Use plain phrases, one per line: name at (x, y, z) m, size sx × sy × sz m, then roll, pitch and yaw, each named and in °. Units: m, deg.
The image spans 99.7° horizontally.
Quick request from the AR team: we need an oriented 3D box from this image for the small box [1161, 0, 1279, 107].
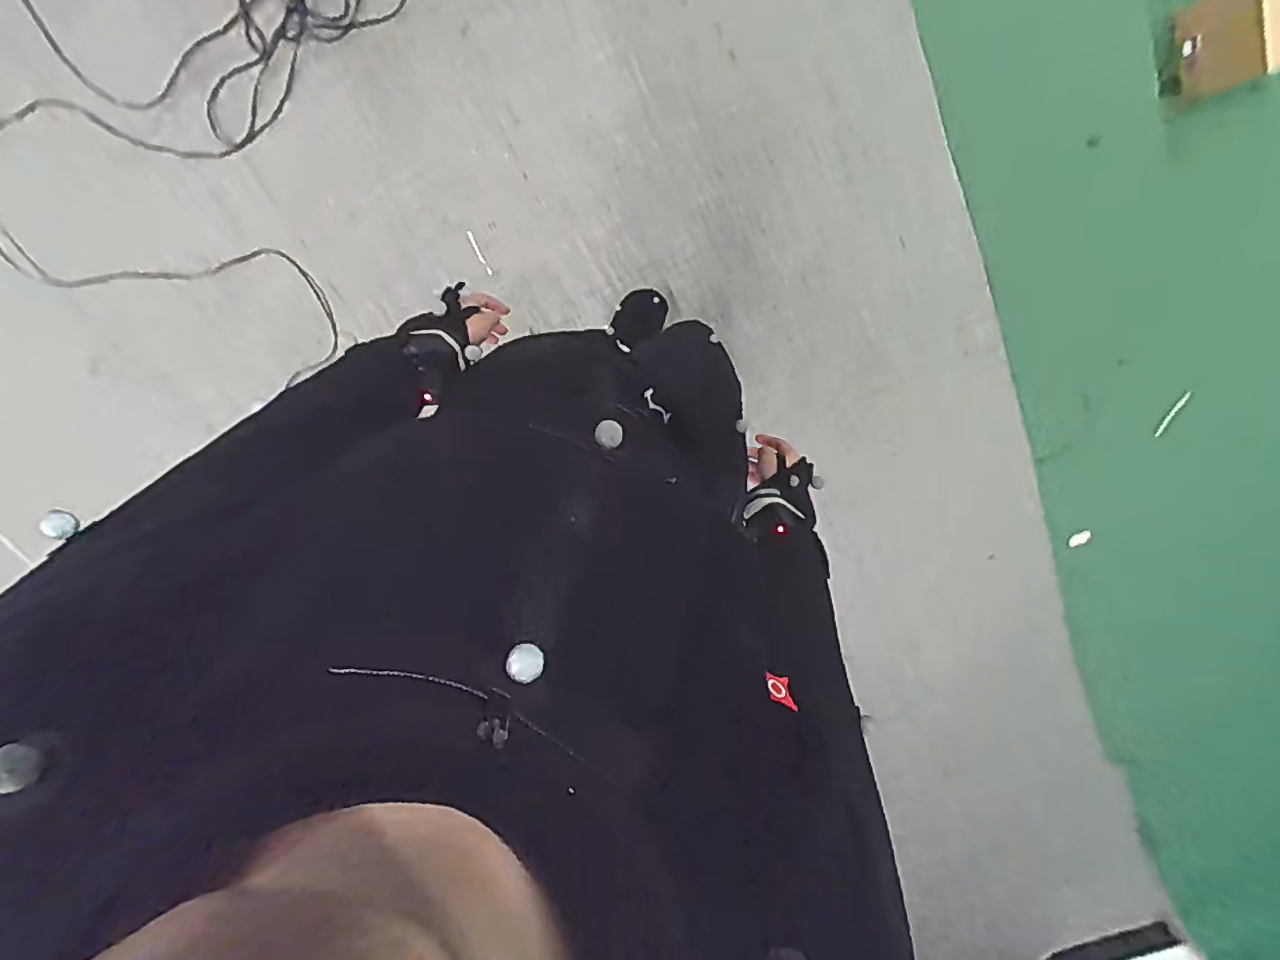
small box at (1.143, -0.844, 1.009) m, size 0.179 × 0.176 × 0.168 m, roll -26°, pitch 108°, yaw 9°
